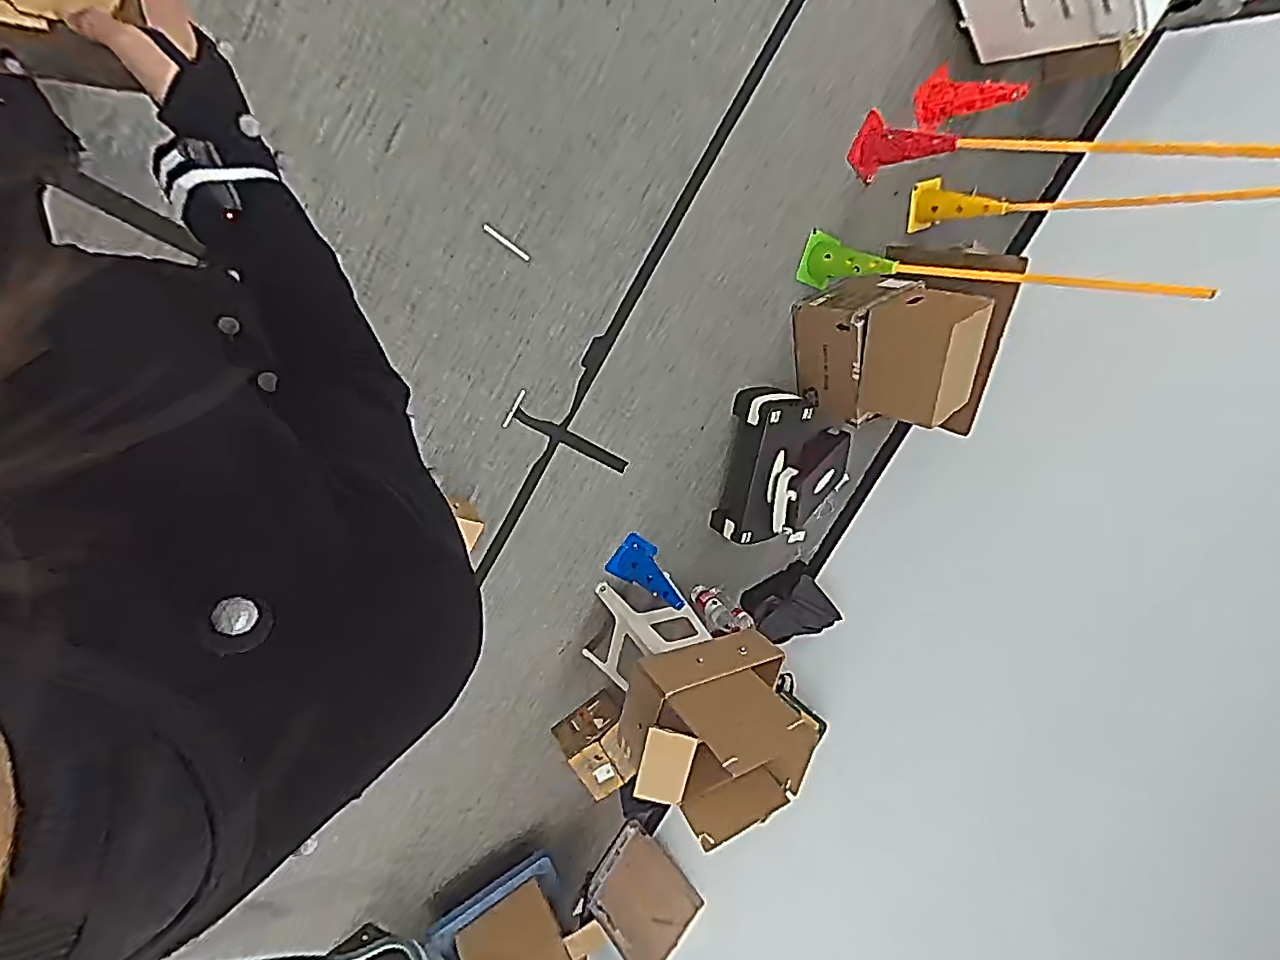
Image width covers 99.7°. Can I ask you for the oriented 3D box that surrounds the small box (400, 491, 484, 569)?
[{"bbox_3d":[-0.624,0.151,1.689,0.179,0.176,0.168,23,99,-42],"label":"small box"}]

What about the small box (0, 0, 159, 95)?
[{"bbox_3d":[-0.509,-0.439,0.423,0.168,0.176,0.179,-16,115,-37],"label":"small box"}]
